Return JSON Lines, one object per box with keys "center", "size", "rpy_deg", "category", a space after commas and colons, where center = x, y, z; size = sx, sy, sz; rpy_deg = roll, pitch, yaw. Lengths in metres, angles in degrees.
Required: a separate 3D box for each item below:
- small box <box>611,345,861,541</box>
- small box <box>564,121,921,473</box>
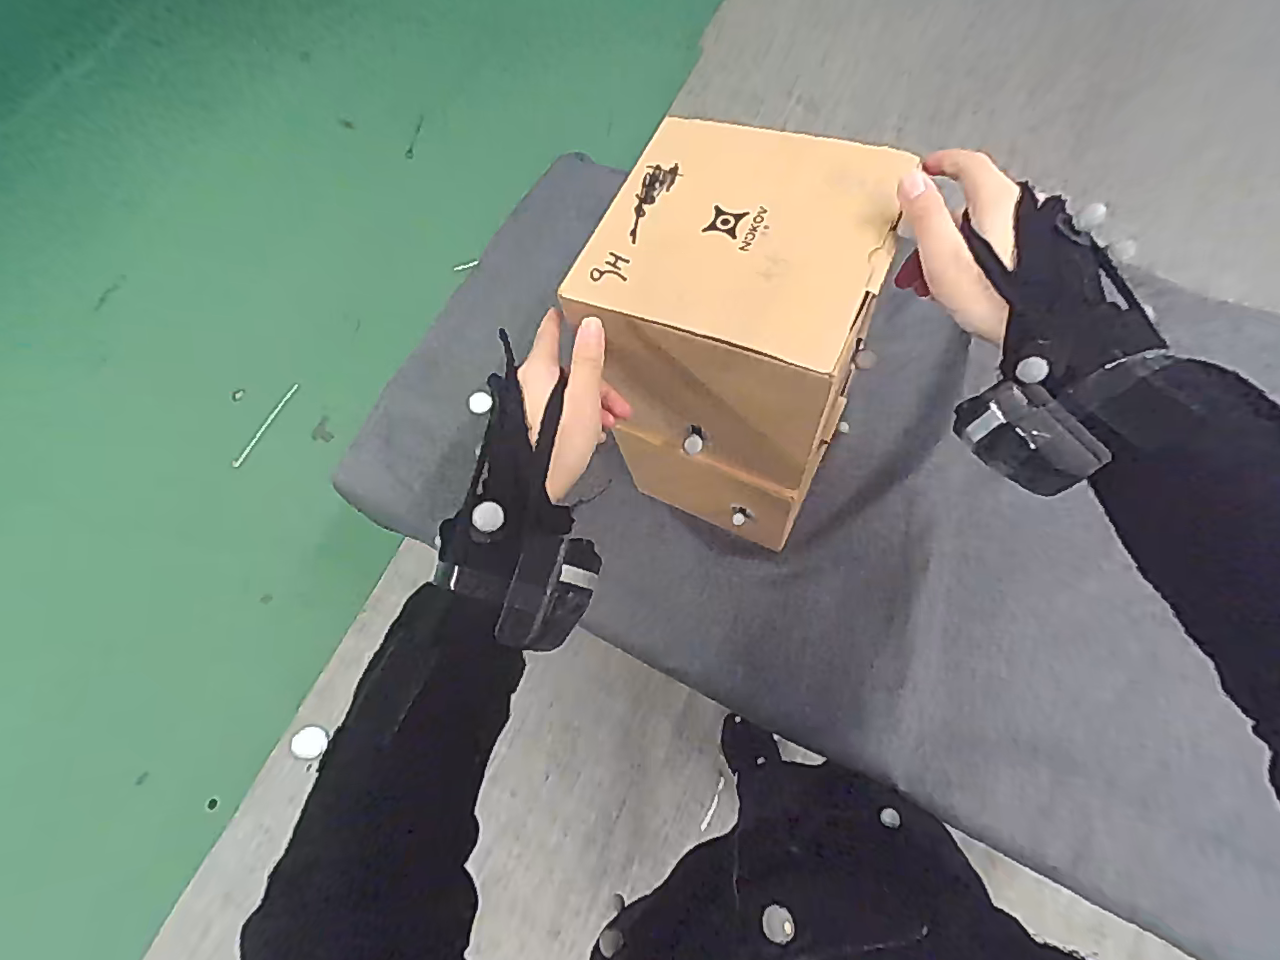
{"center": [0.098, -0.053, 0.556], "size": [0.179, 0.176, 0.168], "rpy_deg": [22, 72, 18], "category": "small box"}
{"center": [0.074, -0.123, 0.409], "size": [0.179, 0.176, 0.168], "rpy_deg": [22, 72, 17], "category": "small box"}
